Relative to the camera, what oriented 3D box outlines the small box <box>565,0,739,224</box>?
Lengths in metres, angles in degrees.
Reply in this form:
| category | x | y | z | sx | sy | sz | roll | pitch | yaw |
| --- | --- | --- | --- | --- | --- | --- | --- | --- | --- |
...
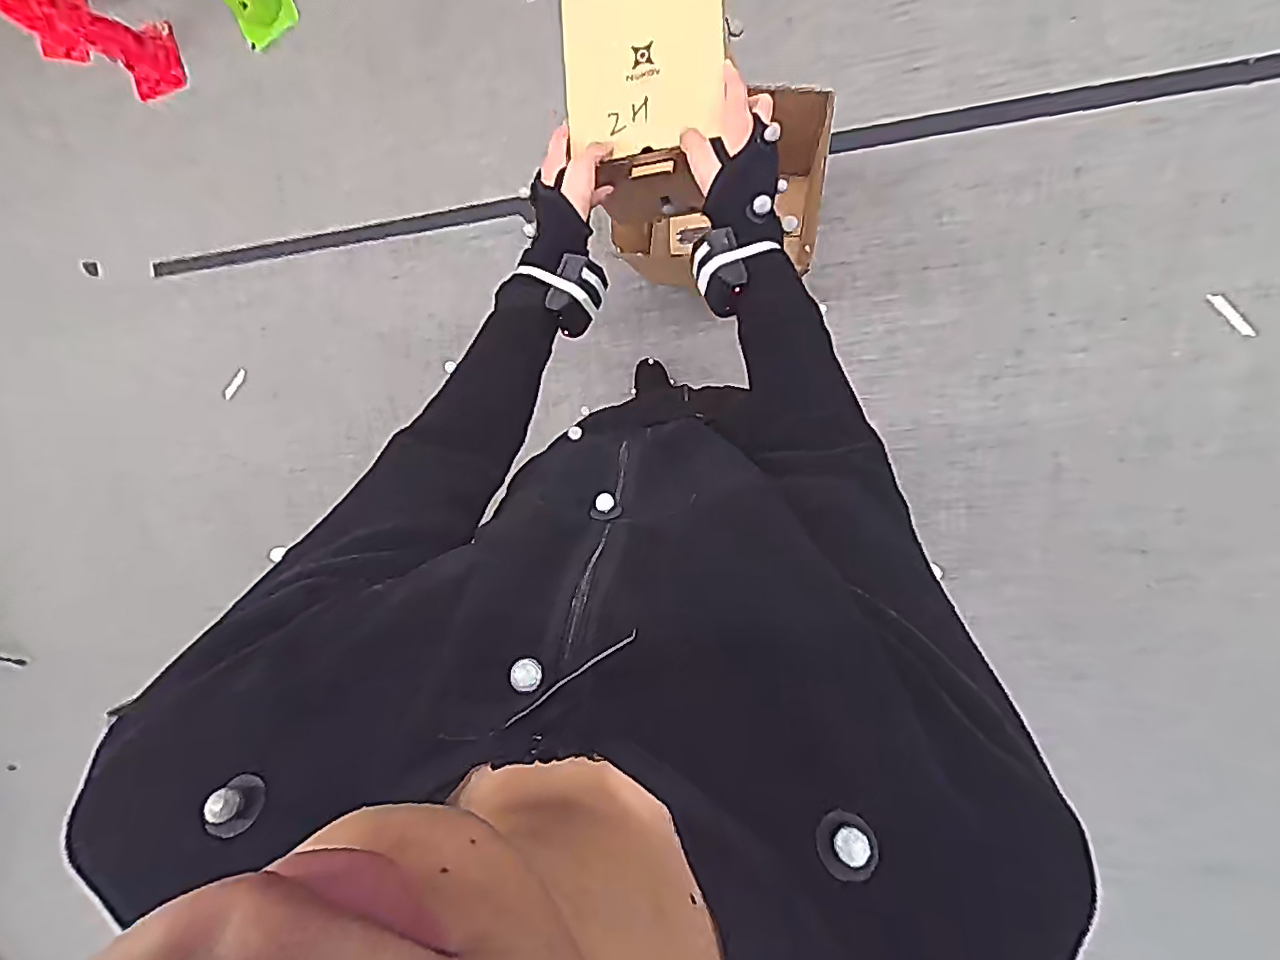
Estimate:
| category | x | y | z | sx | sy | sz | roll | pitch | yaw |
| --- | --- | --- | --- | --- | --- | --- | --- | --- | --- |
| small box | 0.024 | -0.424 | 0.623 | 0.168 | 0.176 | 0.179 | -2 | 95 | 15 |
